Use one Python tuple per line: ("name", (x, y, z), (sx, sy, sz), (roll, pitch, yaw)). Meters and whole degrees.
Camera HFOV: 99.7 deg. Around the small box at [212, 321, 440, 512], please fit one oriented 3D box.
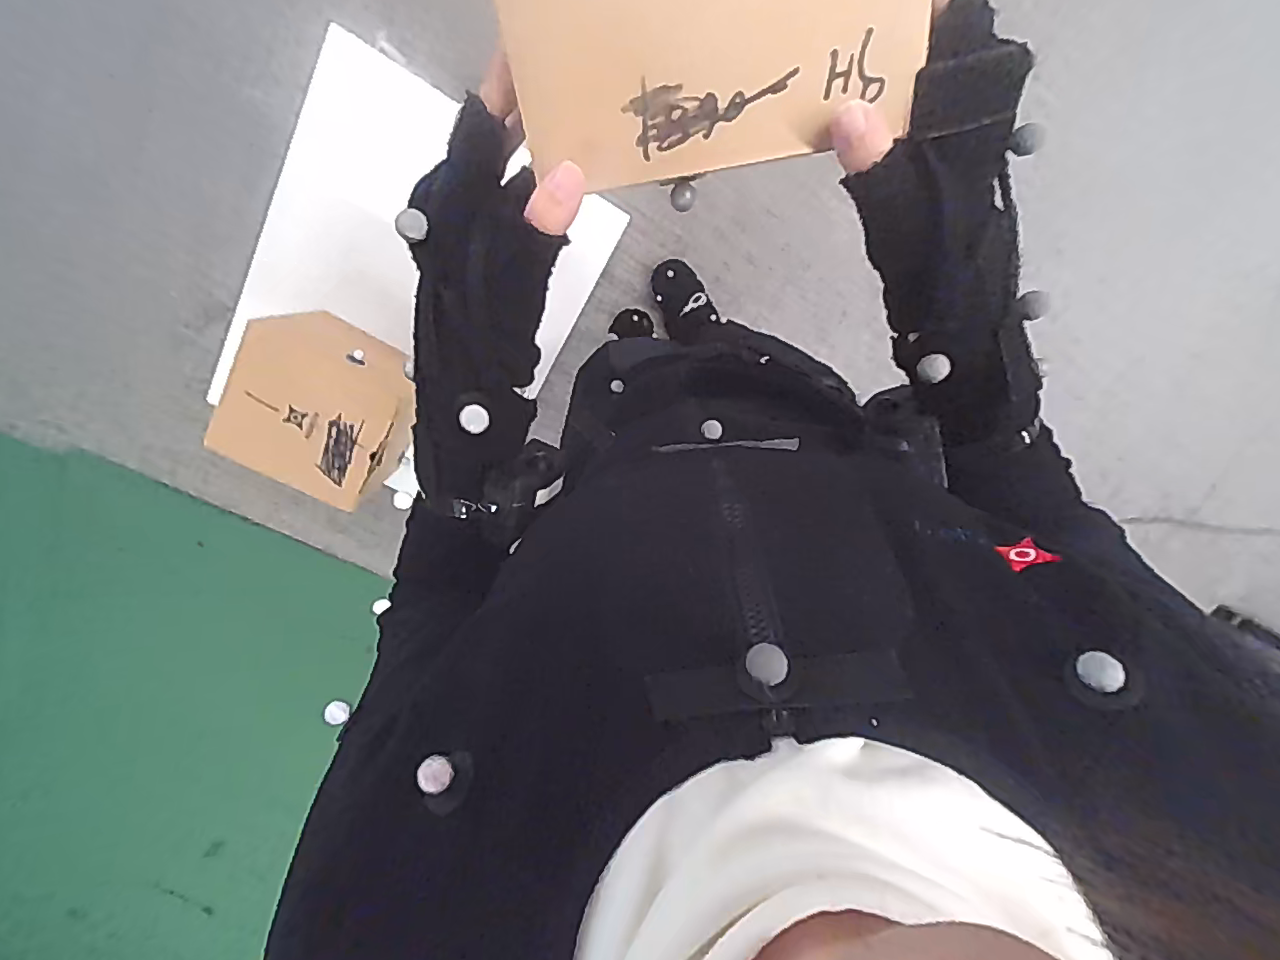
("small box", (-0.387, -0.092, 0.699), (0.179, 0.176, 0.168), (29, 105, -12))
